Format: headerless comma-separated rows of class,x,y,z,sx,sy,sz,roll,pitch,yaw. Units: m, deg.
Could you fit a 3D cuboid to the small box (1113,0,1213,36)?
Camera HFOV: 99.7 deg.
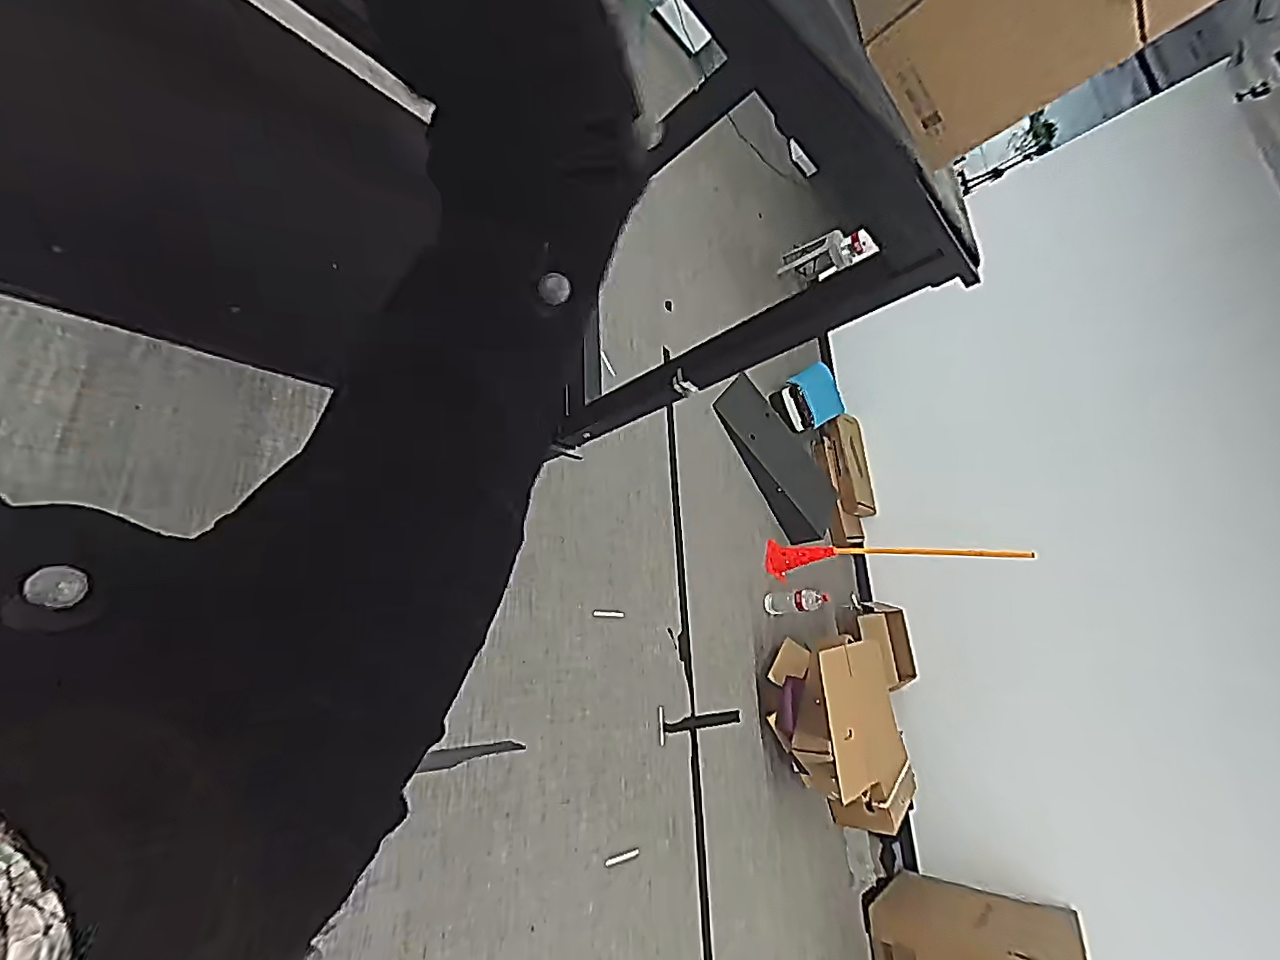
small box,0.413,-0.479,0.371,0.168,0.176,0.179,20,61,-41
